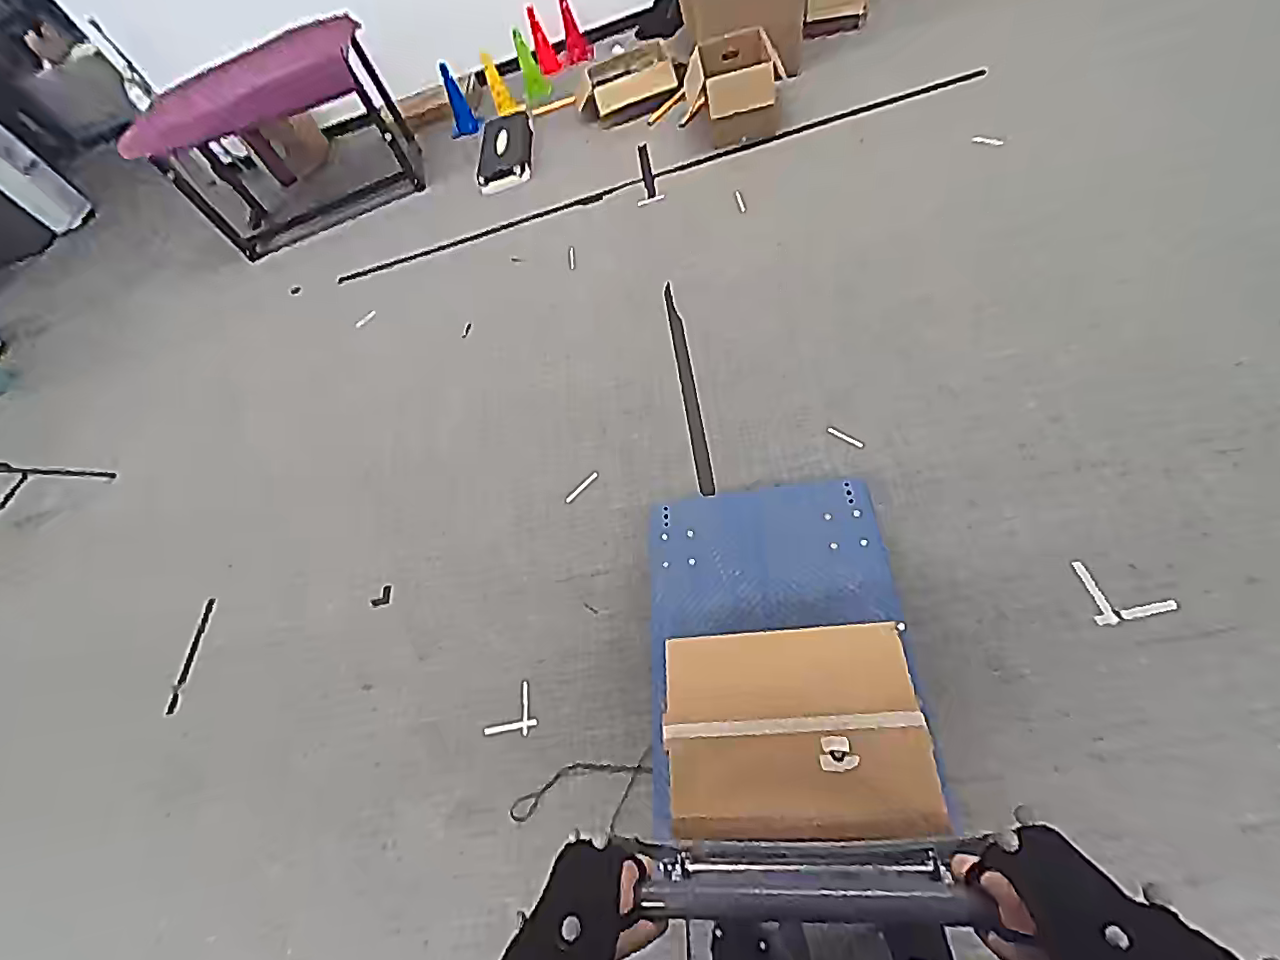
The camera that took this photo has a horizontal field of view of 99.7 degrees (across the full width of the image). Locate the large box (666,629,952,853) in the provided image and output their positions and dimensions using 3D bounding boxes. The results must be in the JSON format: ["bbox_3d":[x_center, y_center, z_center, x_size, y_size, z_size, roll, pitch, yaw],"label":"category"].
[{"bbox_3d":[0.276,0.489,0.991,0.408,0.320,0.320,-8,56,11],"label":"large box"}]
